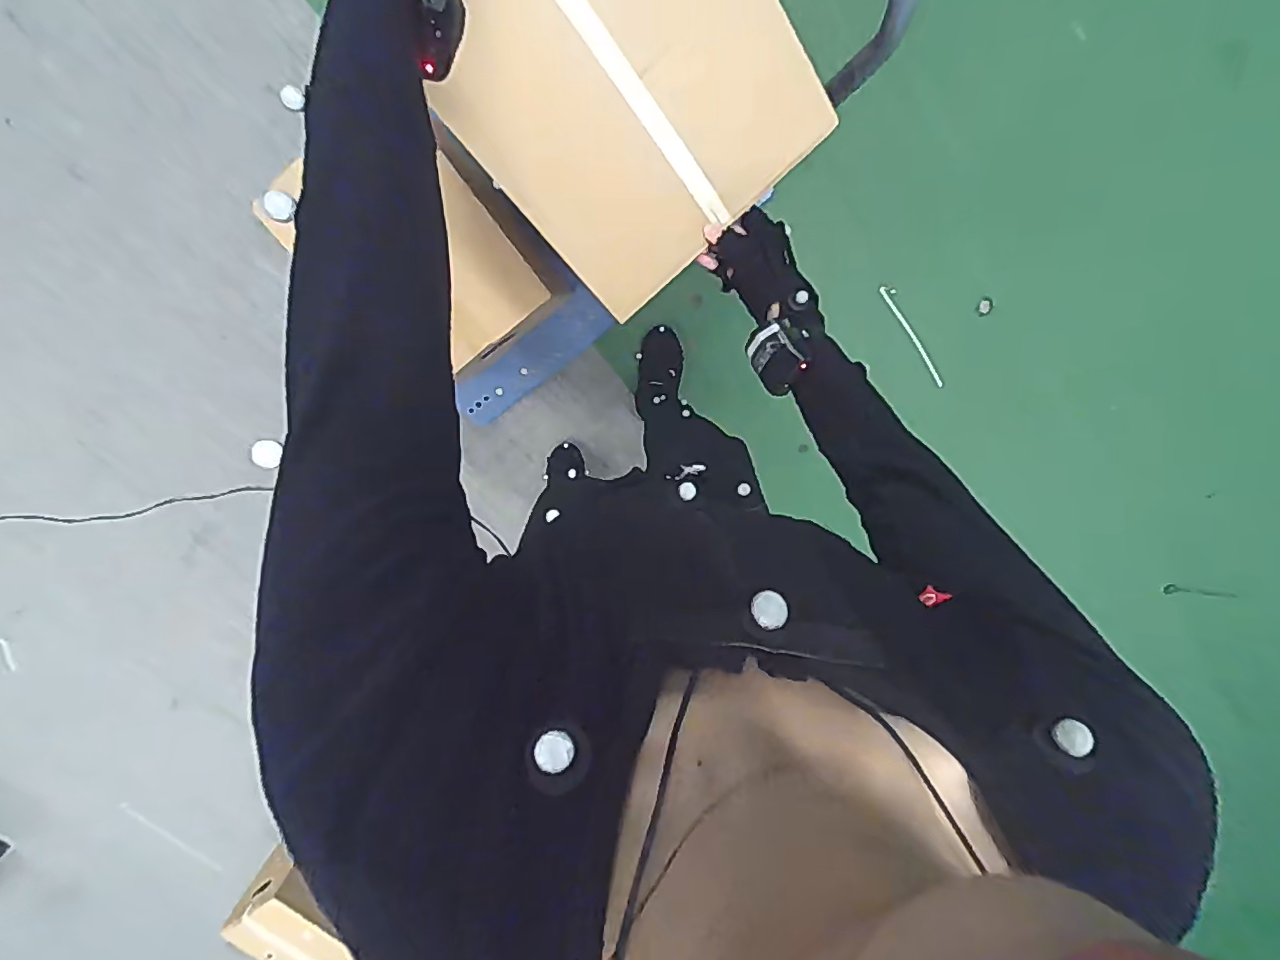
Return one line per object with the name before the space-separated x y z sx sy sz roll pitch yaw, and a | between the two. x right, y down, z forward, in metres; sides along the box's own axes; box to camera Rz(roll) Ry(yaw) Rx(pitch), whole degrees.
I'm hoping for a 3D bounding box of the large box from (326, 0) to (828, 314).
large box | -0.062 -0.476 0.637 0.320 0.320 0.408 -39 117 13
